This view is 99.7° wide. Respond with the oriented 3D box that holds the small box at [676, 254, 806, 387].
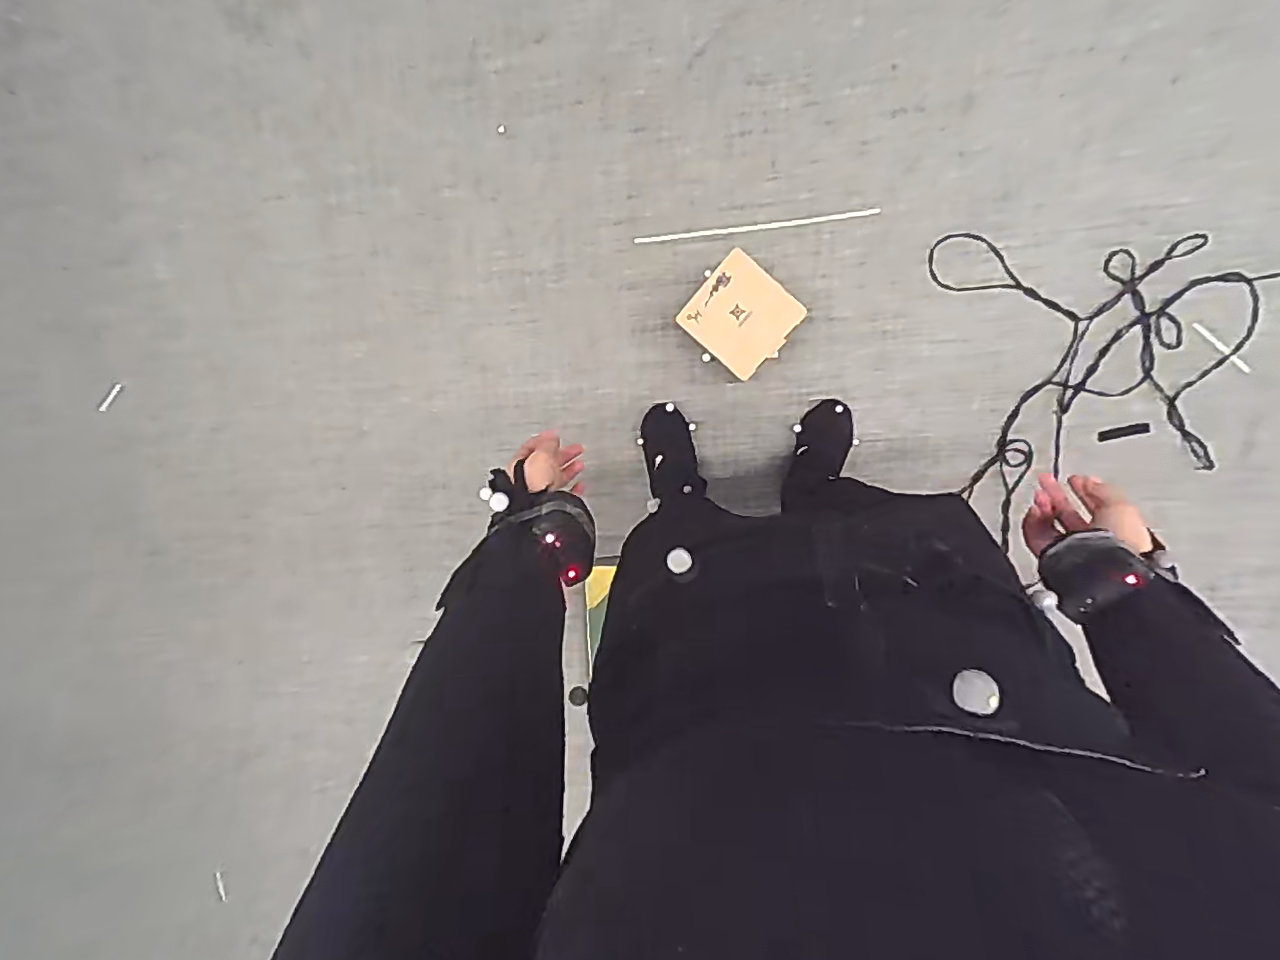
[{"bbox_3d":[0.191,-0.303,1.051,0.179,0.176,0.168,42,103,-2],"label":"small box"}]
